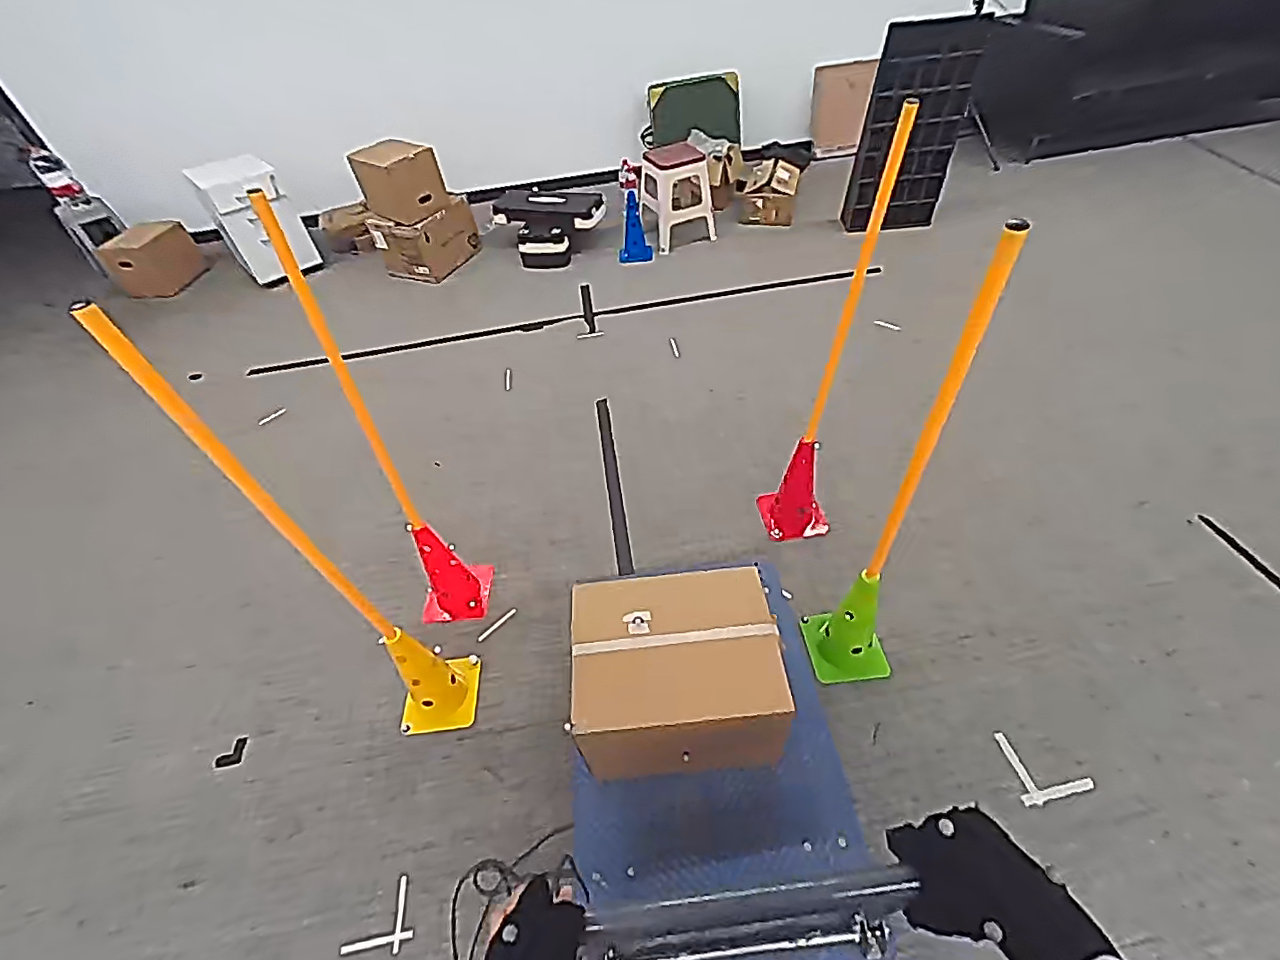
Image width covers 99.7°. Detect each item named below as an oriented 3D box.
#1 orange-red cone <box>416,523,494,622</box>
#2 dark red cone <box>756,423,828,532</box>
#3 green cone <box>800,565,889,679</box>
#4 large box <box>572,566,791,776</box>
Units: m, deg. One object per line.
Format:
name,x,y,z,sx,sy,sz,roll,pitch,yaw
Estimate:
orange-red cone,-0.594,0.252,1.627,0.198,0.360,0.199,-4,45,2
dark red cone,0.503,-0.020,1.717,0.201,0.394,0.202,-9,47,-4
green cone,0.559,0.341,1.397,0.202,0.368,0.200,-6,47,-1
large box,0.079,0.423,1.183,0.408,0.320,0.320,-7,46,1
